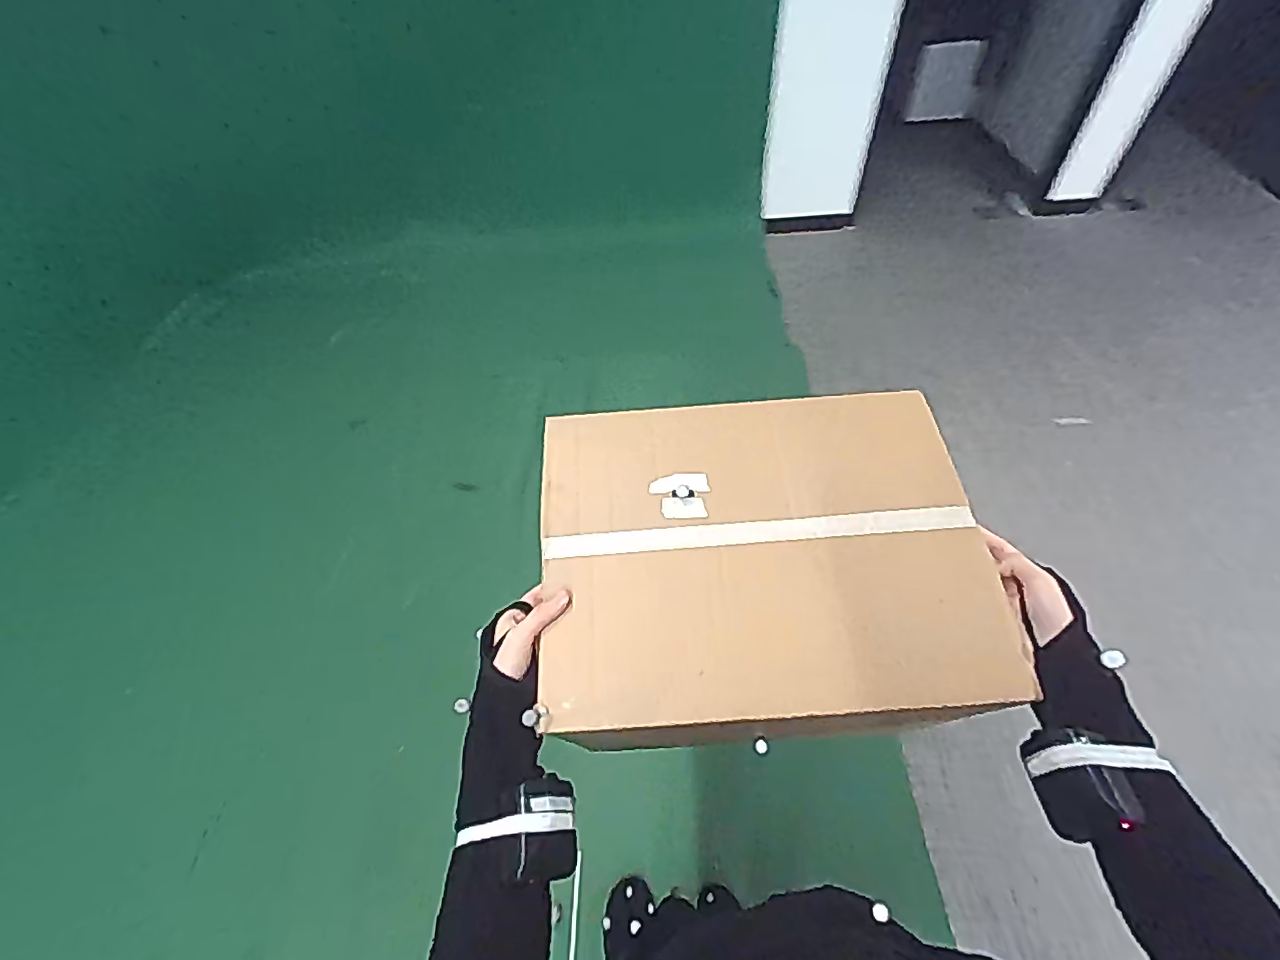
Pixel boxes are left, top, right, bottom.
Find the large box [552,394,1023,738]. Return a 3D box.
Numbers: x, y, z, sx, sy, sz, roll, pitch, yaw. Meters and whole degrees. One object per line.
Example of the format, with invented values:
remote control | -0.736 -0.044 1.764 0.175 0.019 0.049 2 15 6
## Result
large box | 0.126 0.126 0.654 0.408 0.320 0.320 -4 60 2
